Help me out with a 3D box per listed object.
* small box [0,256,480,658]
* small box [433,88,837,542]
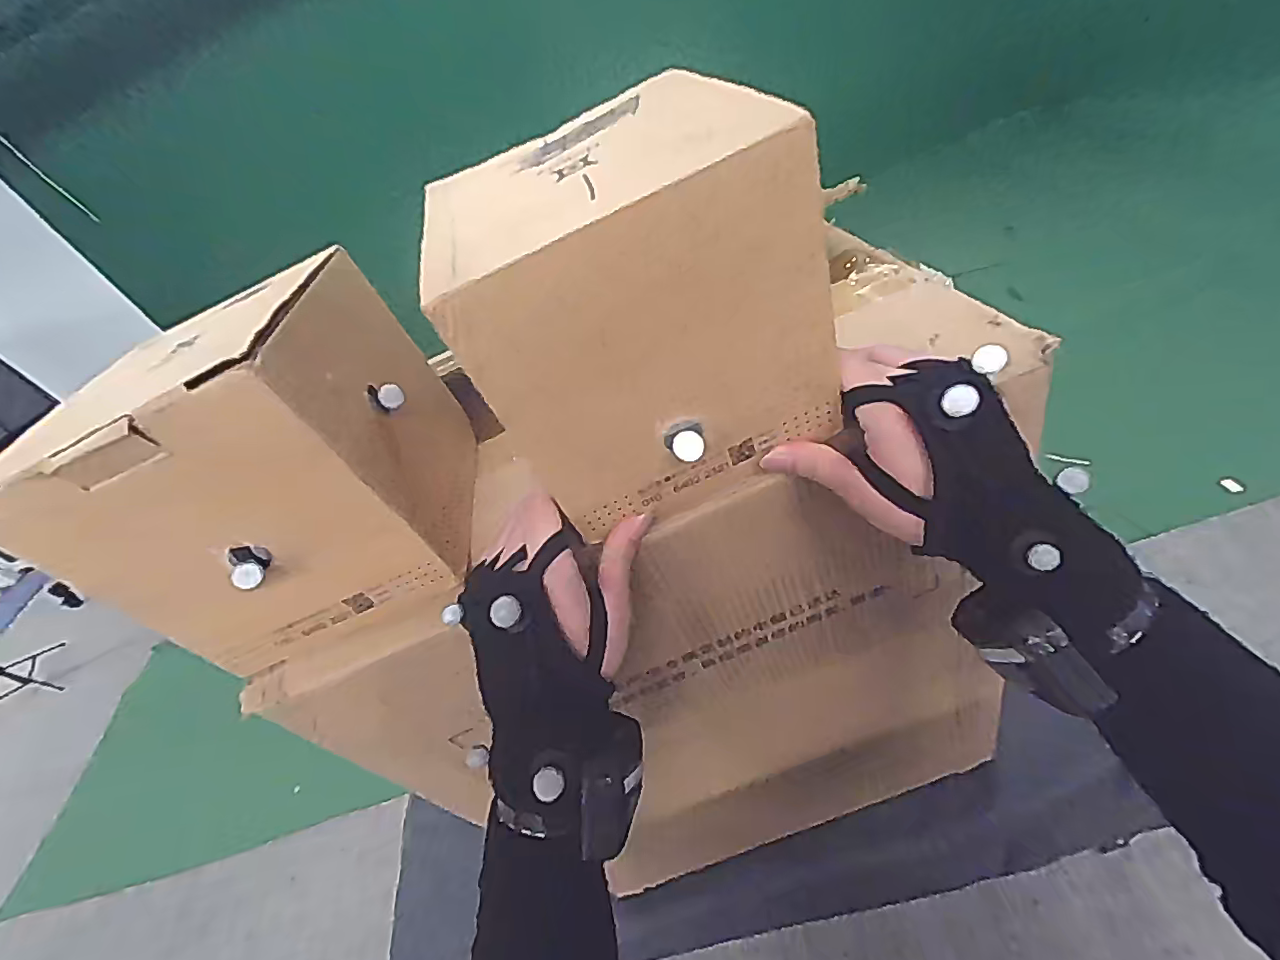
[{"bbox_3d":[-0.221,-0.008,0.353,0.168,0.176,0.179,-23,40,5],"label":"small box"},{"bbox_3d":[-0.001,-0.096,0.323,0.168,0.176,0.179,-25,45,2],"label":"small box"}]
